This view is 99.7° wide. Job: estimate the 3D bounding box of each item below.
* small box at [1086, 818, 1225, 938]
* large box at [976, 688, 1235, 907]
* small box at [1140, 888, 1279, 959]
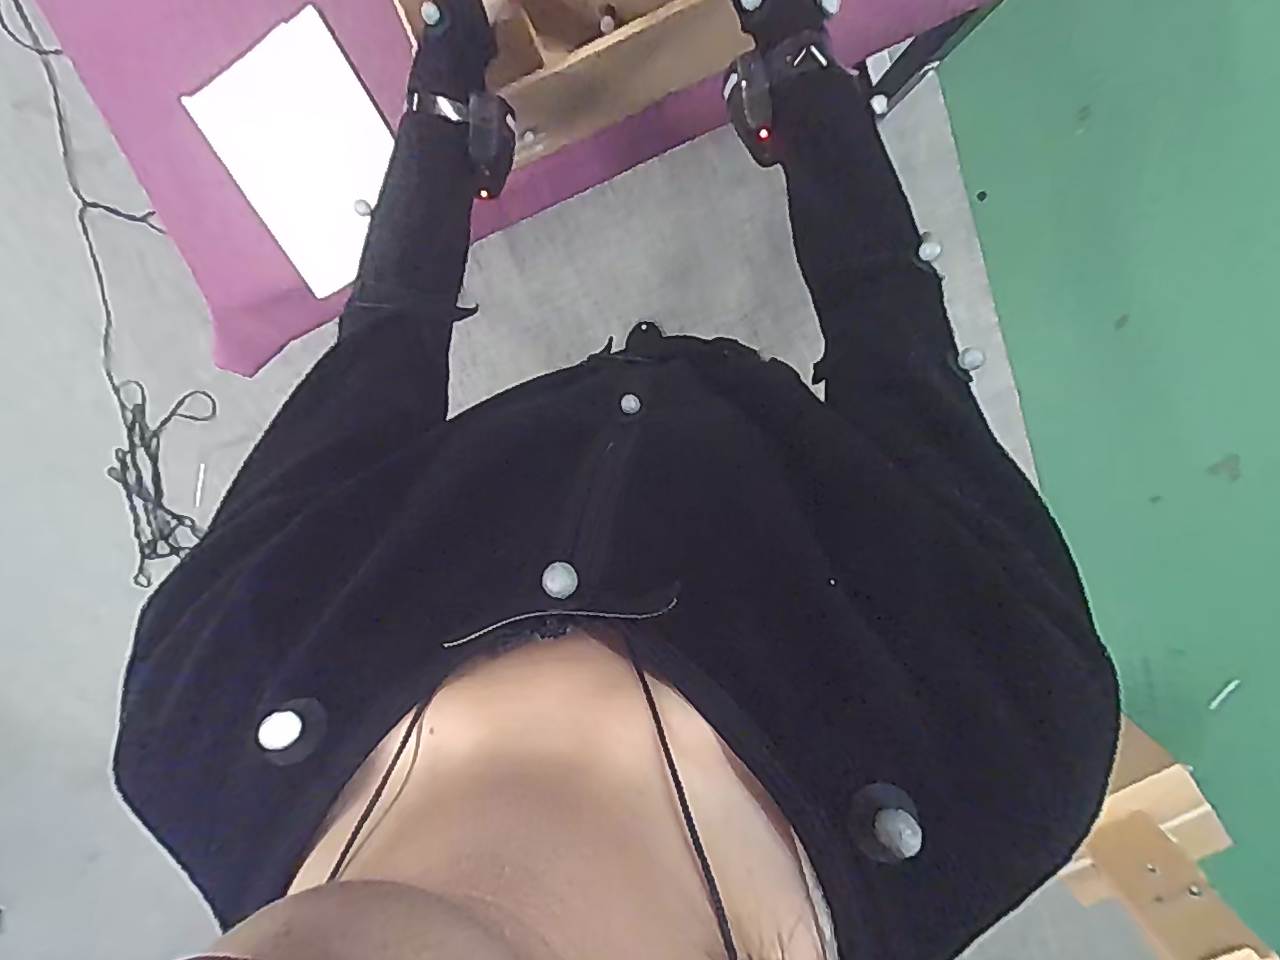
[{"bbox_3d":[1.249,0.966,1.307,0.179,0.176,0.168,-32,100,12],"label":"small box"},{"bbox_3d":[1.284,0.885,1.538,0.408,0.320,0.320,-36,101,11],"label":"large box"},{"bbox_3d":[1.233,1.017,1.152,0.168,0.176,0.179,-31,100,11],"label":"small box"}]
